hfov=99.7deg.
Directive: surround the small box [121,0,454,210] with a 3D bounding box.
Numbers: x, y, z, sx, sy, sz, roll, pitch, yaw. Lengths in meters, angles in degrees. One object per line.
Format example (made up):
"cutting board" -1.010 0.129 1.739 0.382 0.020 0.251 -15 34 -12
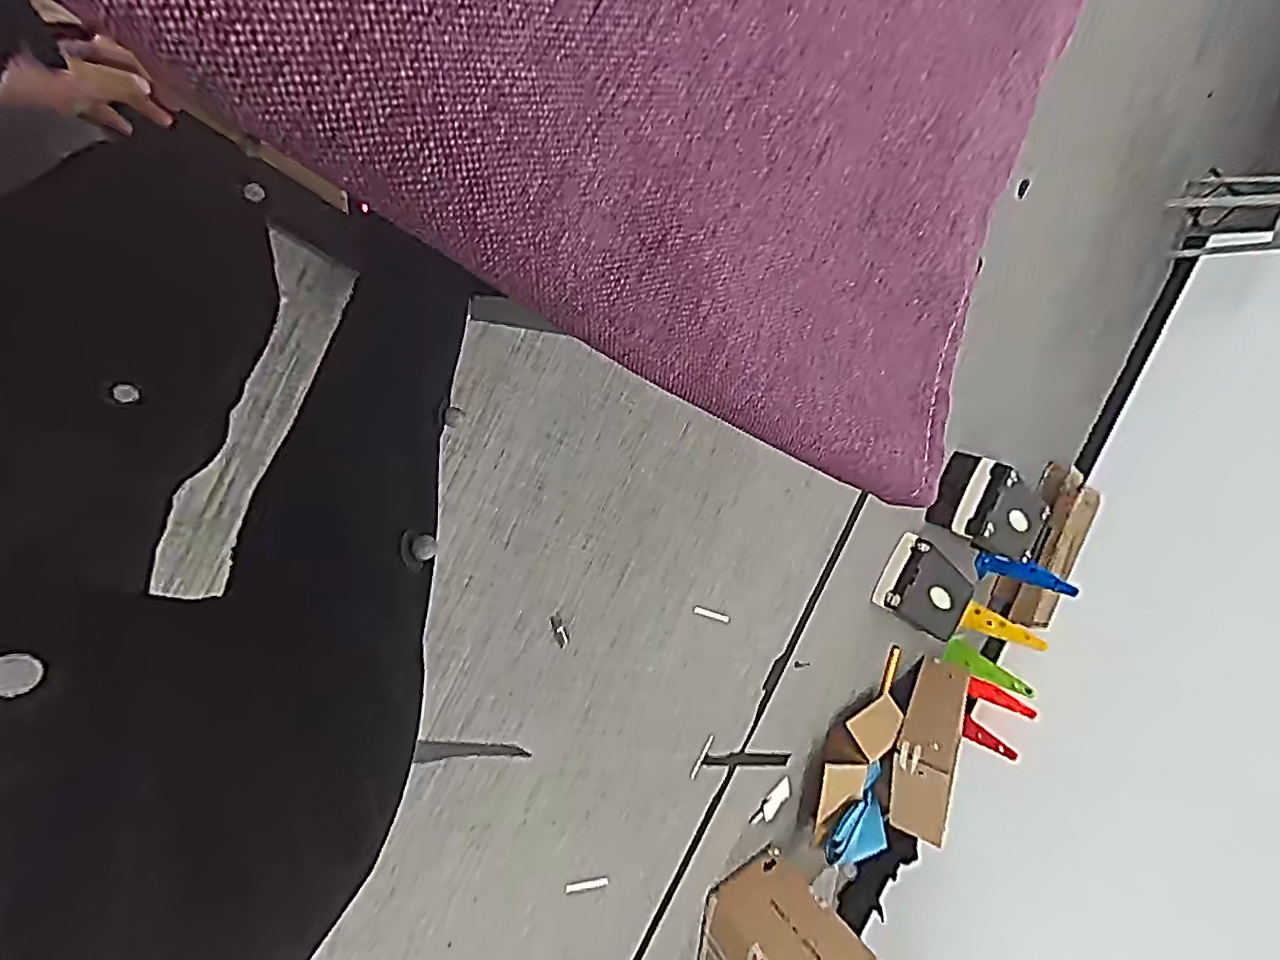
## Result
"small box" -0.304 -0.366 0.484 0.179 0.176 0.168 28 92 -41
